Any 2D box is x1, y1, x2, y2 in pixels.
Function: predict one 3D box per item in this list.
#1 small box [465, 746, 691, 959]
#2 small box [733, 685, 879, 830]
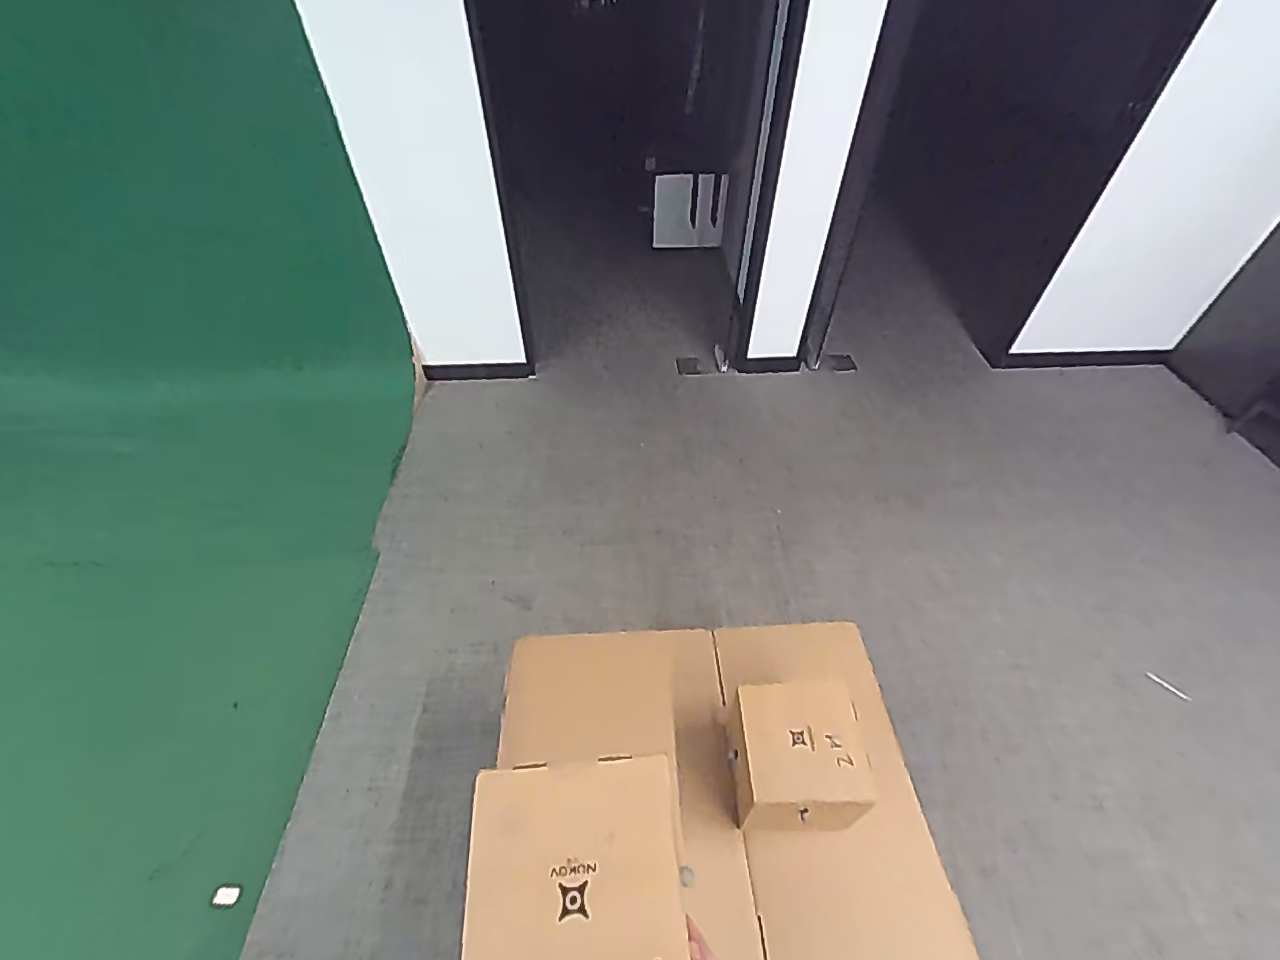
[{"bbox_3d":[-0.048,0.358,0.484,0.168,0.176,0.179,-5,52,-2],"label":"small box"},{"bbox_3d":[0.242,0.435,0.843,0.179,0.176,0.168,-1,47,1],"label":"small box"}]
